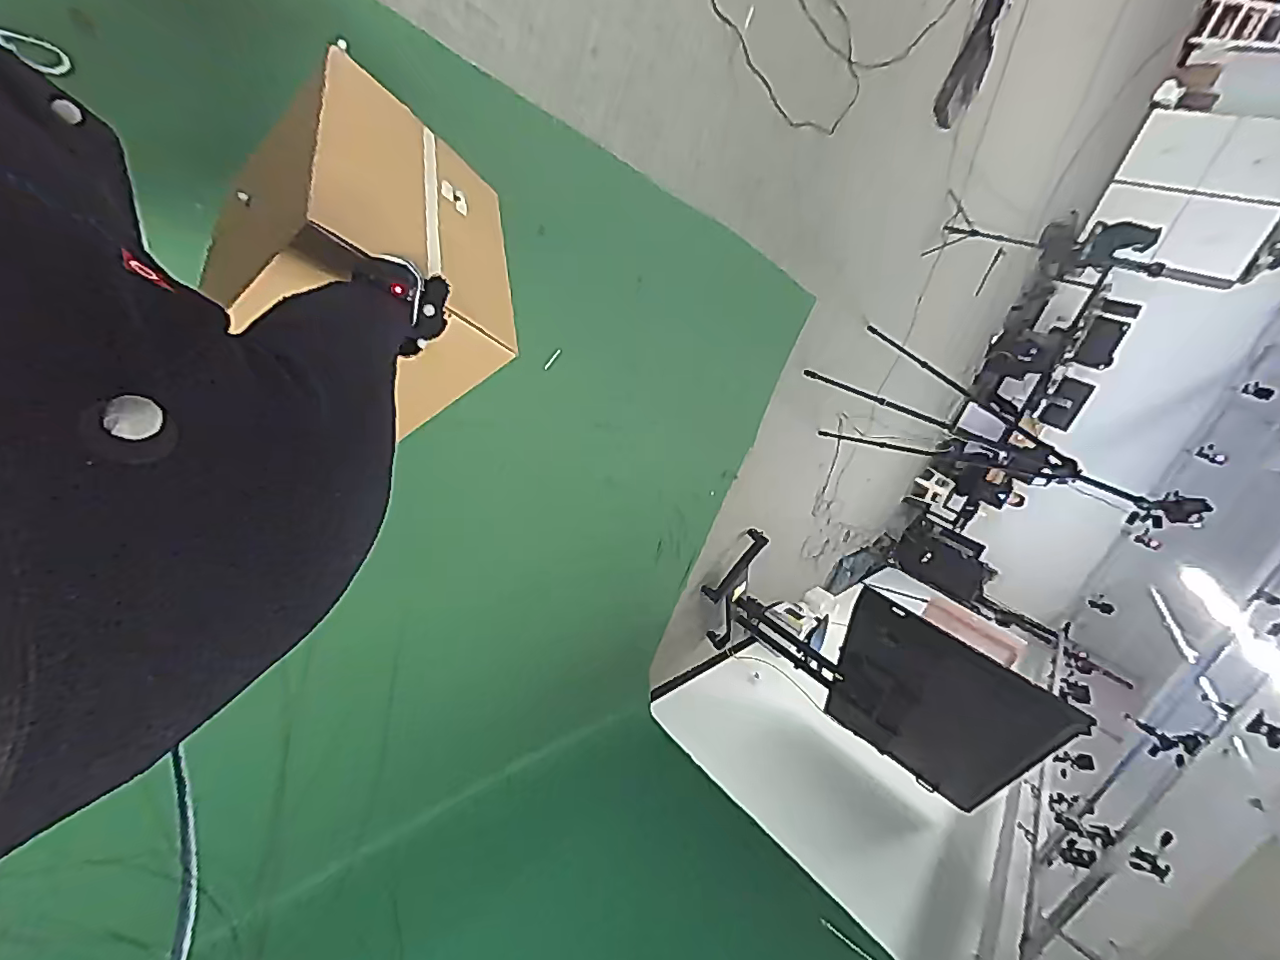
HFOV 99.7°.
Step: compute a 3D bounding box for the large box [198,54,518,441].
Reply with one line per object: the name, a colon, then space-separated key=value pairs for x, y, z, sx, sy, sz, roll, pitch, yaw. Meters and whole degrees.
large box: x=-0.434 y=-0.336 z=0.862 sx=0.320 sy=0.408 sz=0.320 roll=-28 pitch=149 yaw=24
